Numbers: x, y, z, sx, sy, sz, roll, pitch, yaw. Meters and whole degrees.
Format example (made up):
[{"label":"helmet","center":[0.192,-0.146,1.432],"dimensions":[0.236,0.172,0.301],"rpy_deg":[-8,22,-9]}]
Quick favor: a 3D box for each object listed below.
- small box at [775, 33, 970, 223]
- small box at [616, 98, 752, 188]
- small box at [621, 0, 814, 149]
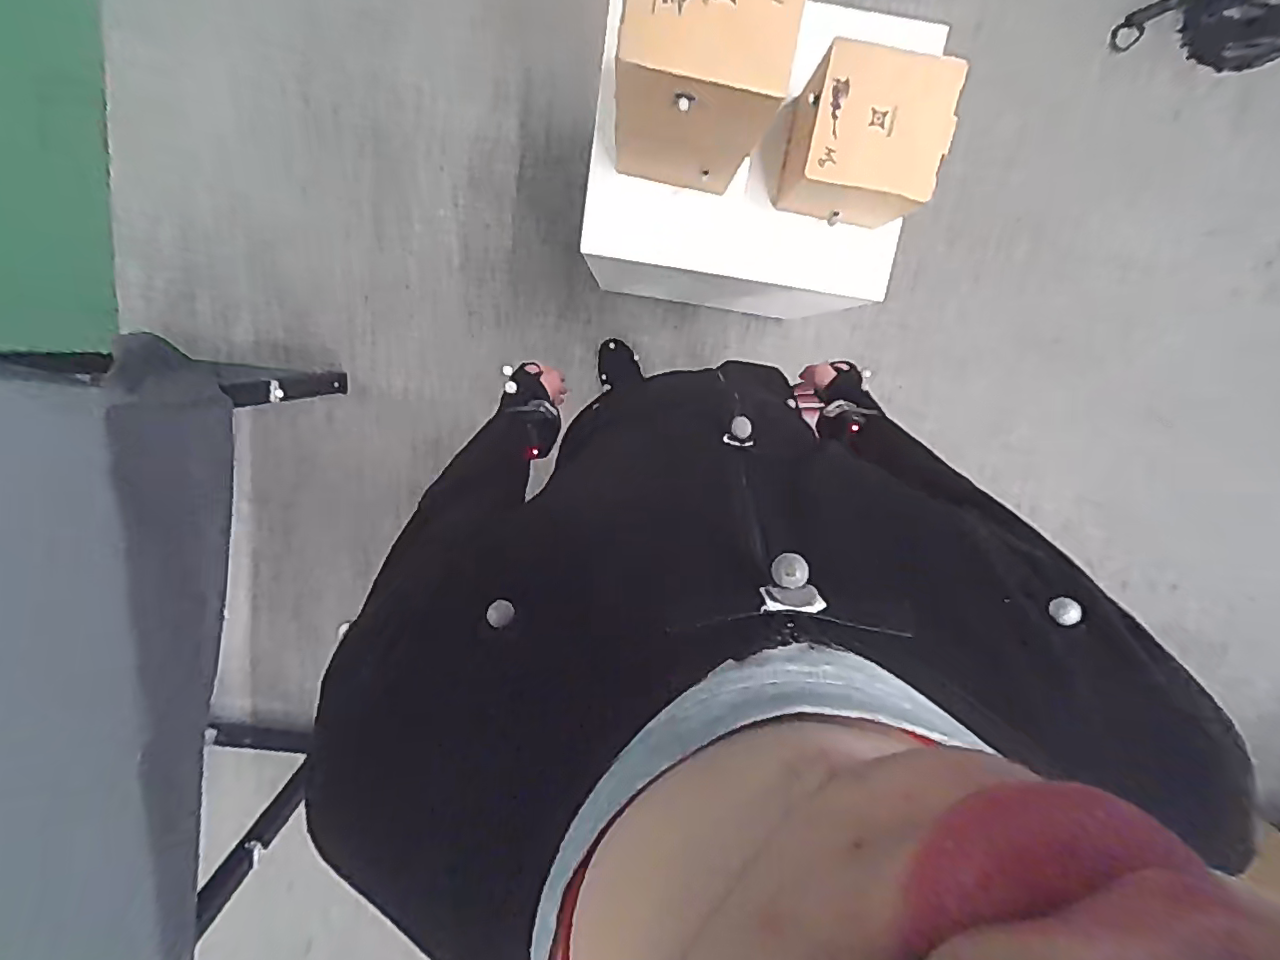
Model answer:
[{"label":"small box","center":[0.311,-0.476,0.763],"dimensions":[0.179,0.176,0.168],"rpy_deg":[10,104,-3]},{"label":"small box","center":[0.066,-0.523,0.745],"dimensions":[0.179,0.176,0.168],"rpy_deg":[9,102,-4]},{"label":"small box","center":[0.077,-0.488,0.584],"dimensions":[0.179,0.176,0.168],"rpy_deg":[9,103,-6]}]
